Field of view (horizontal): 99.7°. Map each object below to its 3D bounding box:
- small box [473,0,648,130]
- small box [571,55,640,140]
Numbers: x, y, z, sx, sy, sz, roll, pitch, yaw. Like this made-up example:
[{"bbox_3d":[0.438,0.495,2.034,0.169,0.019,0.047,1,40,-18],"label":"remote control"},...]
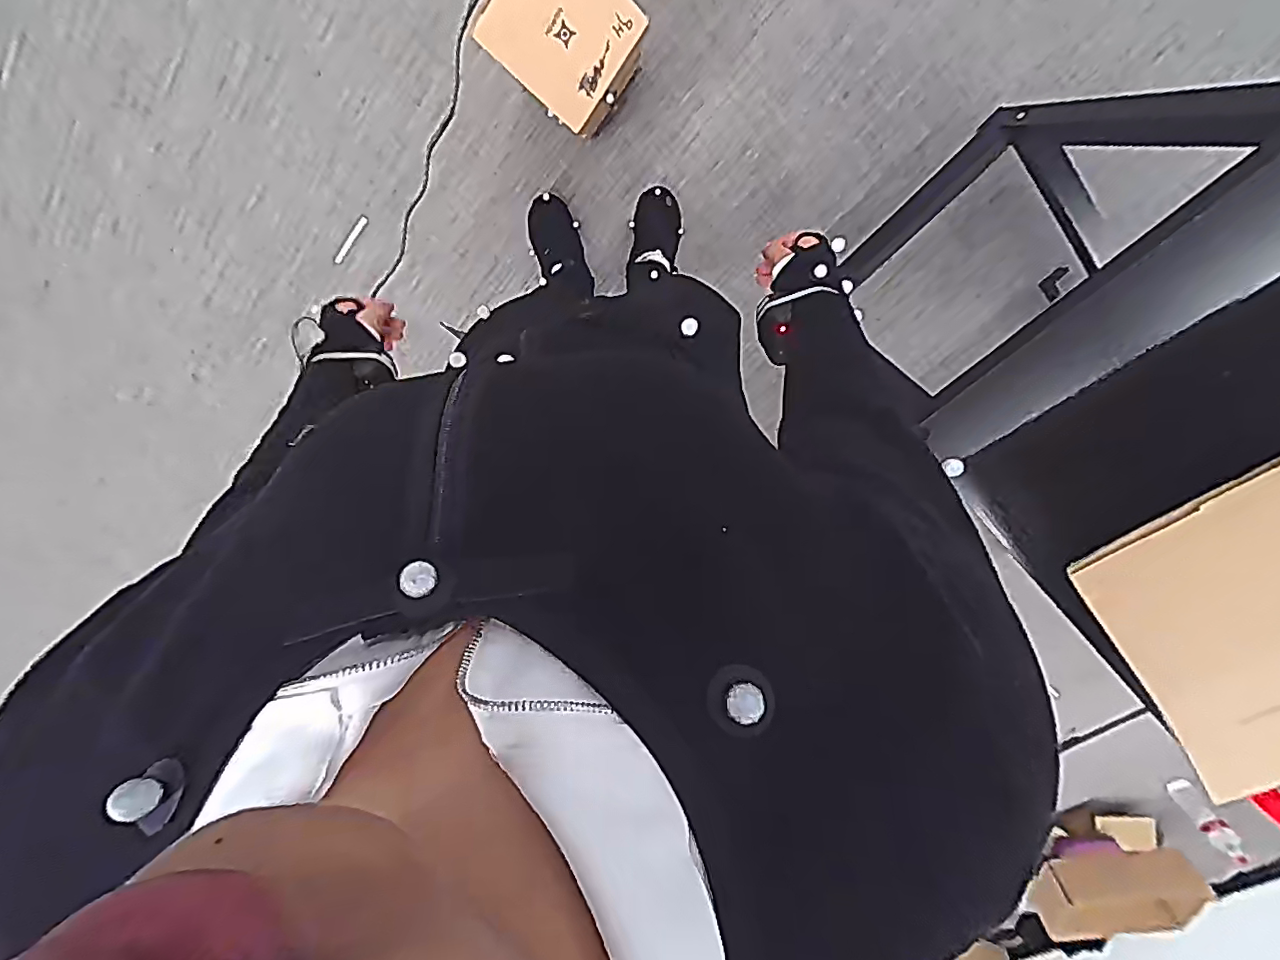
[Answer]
[{"bbox_3d":[-0.107,-0.638,0.781,0.179,0.176,0.168,35,115,-20],"label":"small box"},{"bbox_3d":[-0.118,-0.806,1.060,0.168,0.176,0.179,35,115,-20],"label":"small box"}]
